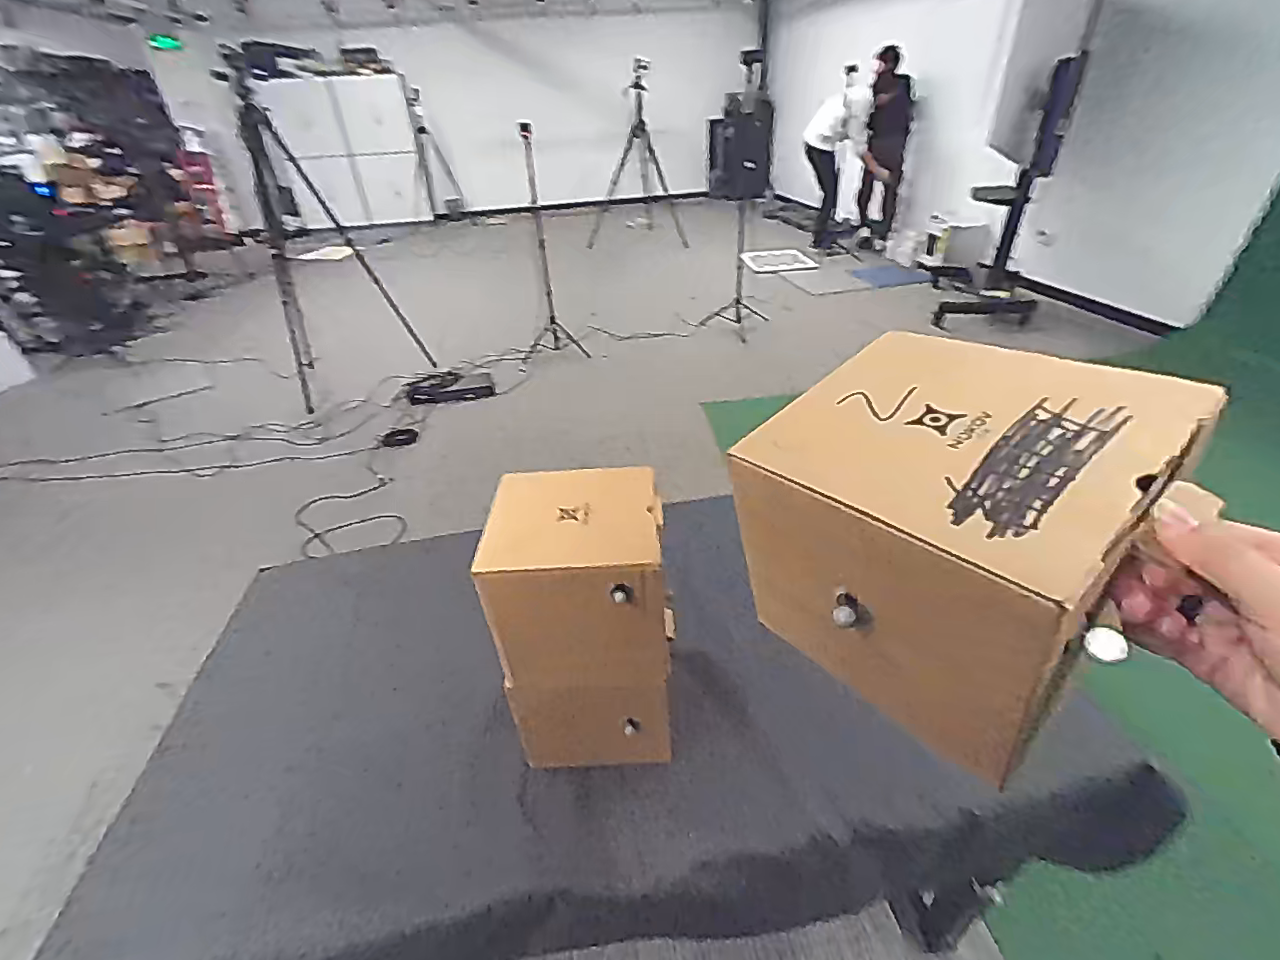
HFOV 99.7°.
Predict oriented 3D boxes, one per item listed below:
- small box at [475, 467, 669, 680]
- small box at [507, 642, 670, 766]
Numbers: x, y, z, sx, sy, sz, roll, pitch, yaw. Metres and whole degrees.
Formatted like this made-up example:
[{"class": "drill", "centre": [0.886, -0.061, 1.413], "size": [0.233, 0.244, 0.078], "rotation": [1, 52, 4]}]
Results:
[{"class": "small box", "centre": [-0.062, 0.102, 0.597], "size": [0.179, 0.176, 0.168], "rotation": [-3, 34, 0]}, {"class": "small box", "centre": [-0.053, 0.238, 0.685], "size": [0.179, 0.176, 0.168], "rotation": [-4, 34, 1]}]
